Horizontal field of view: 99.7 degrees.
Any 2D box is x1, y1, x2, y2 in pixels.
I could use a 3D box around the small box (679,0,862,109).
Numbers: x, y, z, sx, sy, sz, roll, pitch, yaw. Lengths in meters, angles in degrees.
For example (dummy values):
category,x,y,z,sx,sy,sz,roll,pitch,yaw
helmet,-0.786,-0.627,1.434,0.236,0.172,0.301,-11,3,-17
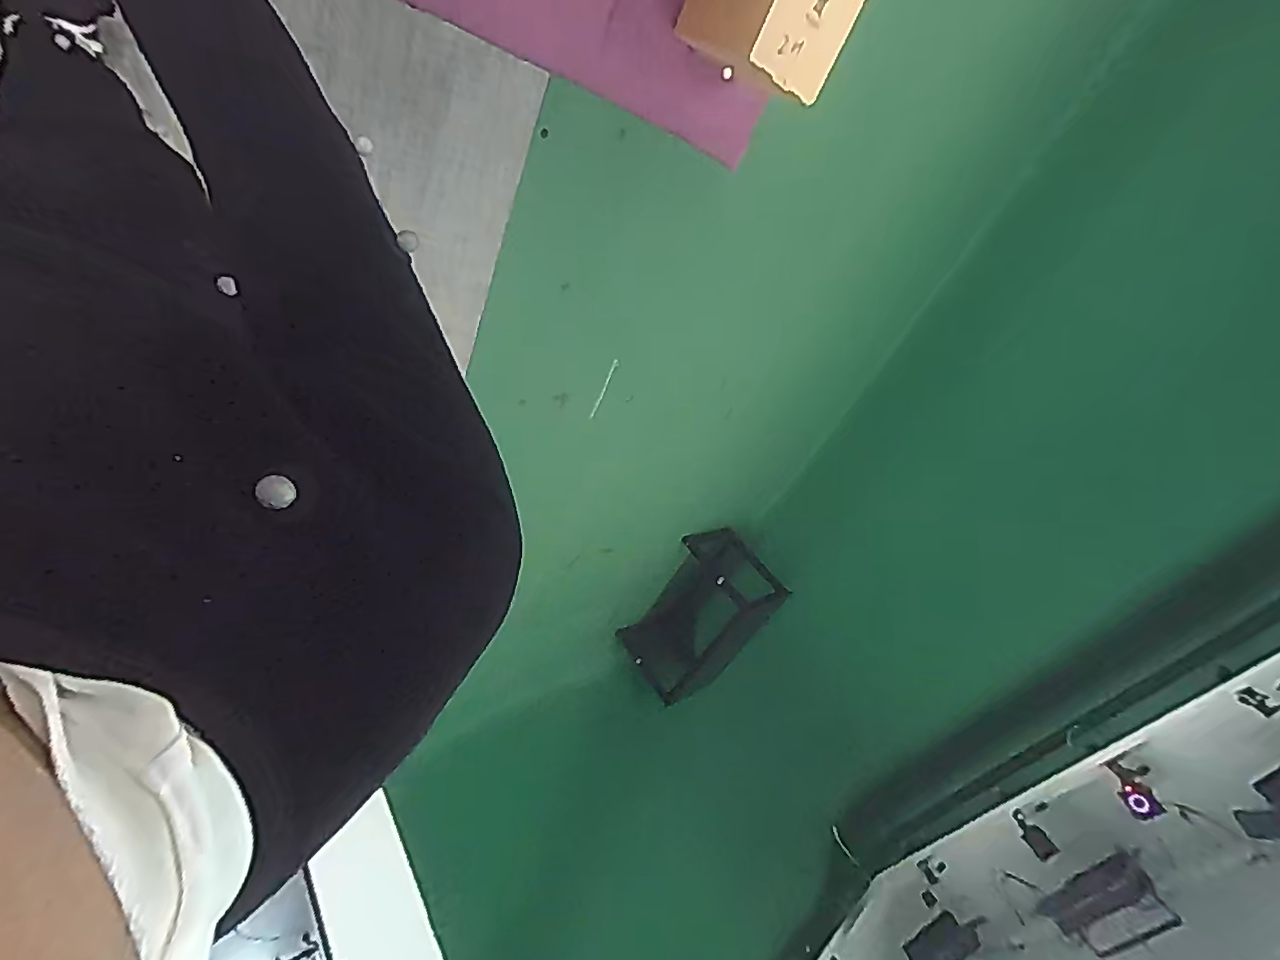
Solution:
category,x,y,z,sx,sy,sz,roll,pitch,yaw
small box,0.184,-0.677,0.766,0.168,0.176,0.179,-5,134,-44
